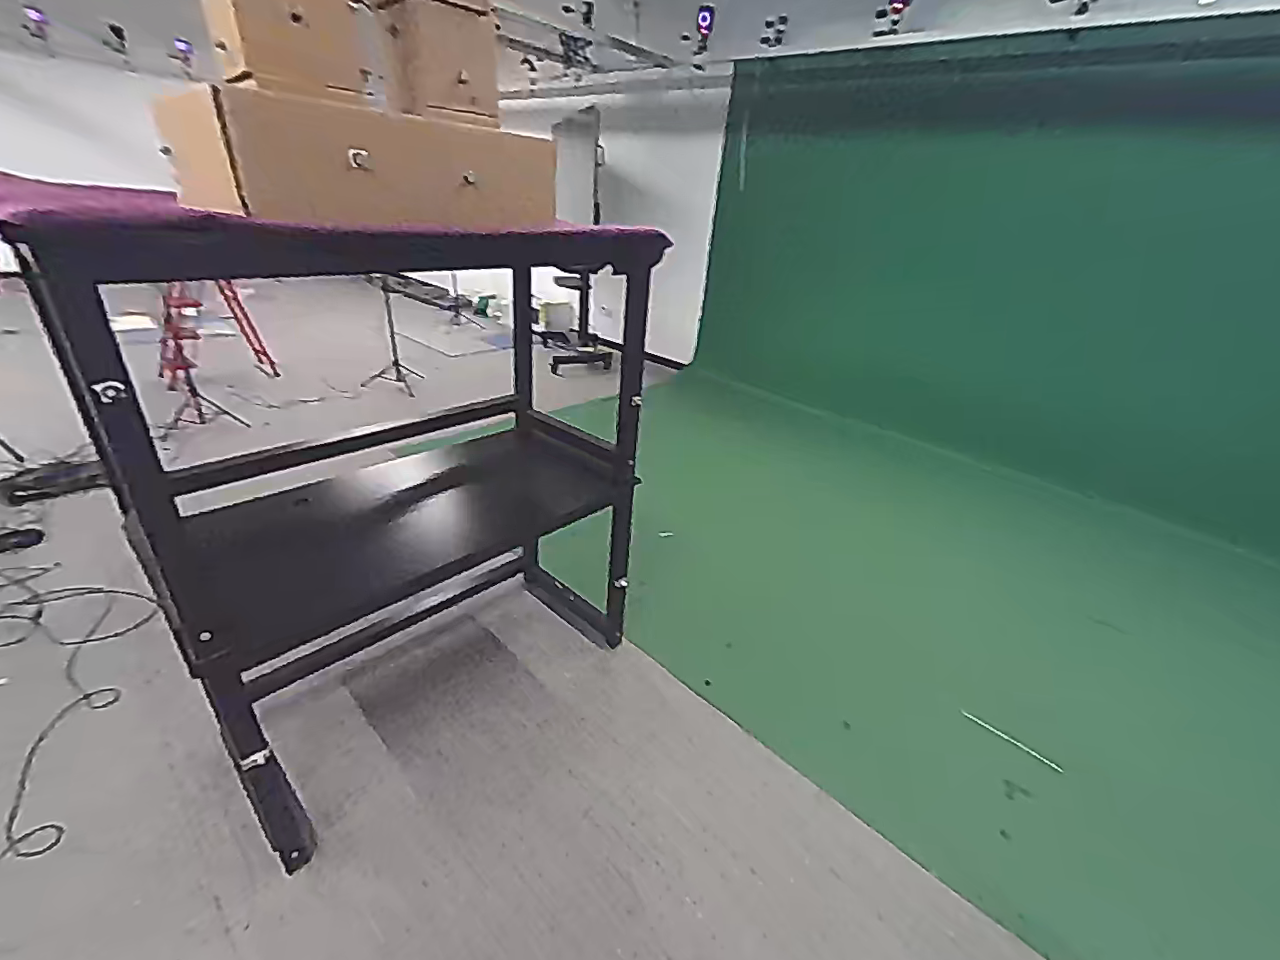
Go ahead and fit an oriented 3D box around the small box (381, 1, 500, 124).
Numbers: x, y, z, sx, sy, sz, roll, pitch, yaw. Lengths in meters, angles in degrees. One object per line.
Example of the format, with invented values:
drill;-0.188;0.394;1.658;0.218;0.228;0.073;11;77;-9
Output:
small box;-0.405;-0.840;1.109;0.168;0.176;0.179;-23;38;-39

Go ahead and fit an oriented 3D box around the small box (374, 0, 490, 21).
small box;-0.402;-0.978;1.022;0.168;0.176;0.179;-22;38;-39
